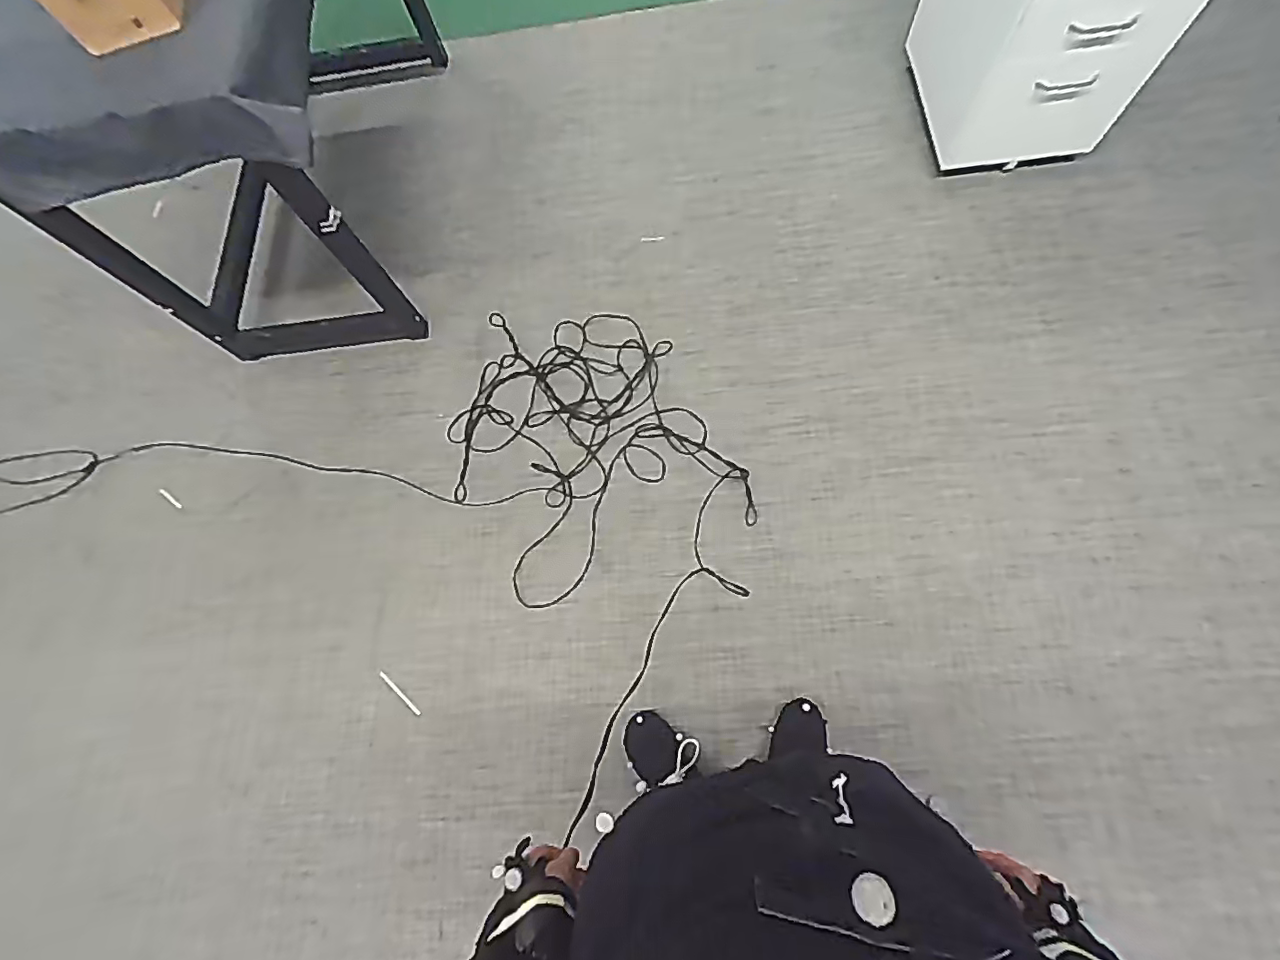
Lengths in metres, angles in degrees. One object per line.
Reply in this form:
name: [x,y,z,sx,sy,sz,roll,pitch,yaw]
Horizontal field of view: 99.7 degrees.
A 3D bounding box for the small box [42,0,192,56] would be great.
small box: [-0.892,-0.851,0.900,0.168,0.176,0.179,-18,70,1]
